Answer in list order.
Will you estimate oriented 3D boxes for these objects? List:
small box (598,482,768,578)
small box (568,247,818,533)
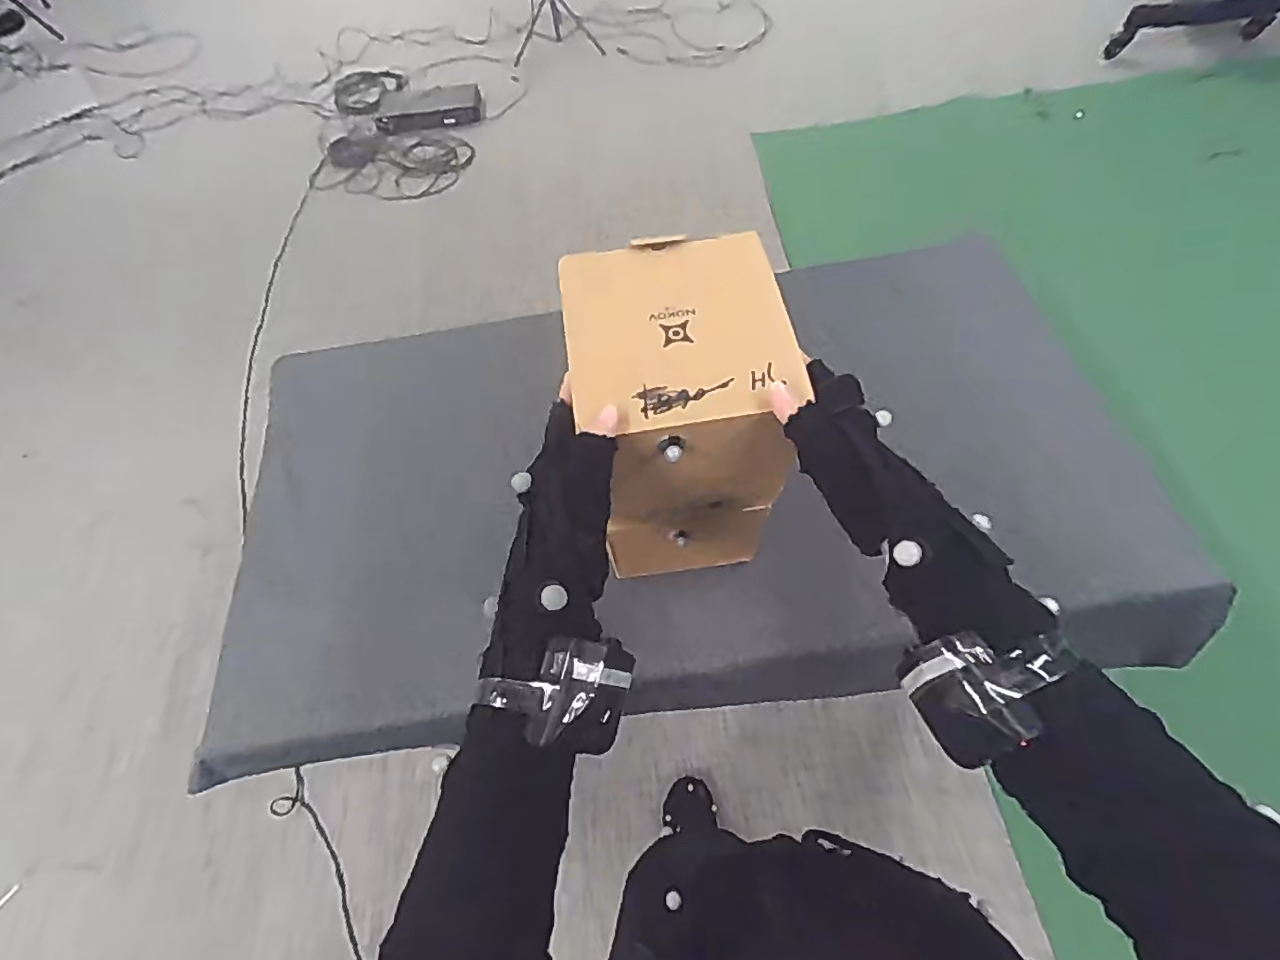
[{"bbox_3d":[0.045,0.011,0.662,0.179,0.176,0.168,-8,62,0],"label":"small box"},{"bbox_3d":[0.034,-0.073,0.487,0.168,0.176,0.179,-10,63,-3],"label":"small box"}]
